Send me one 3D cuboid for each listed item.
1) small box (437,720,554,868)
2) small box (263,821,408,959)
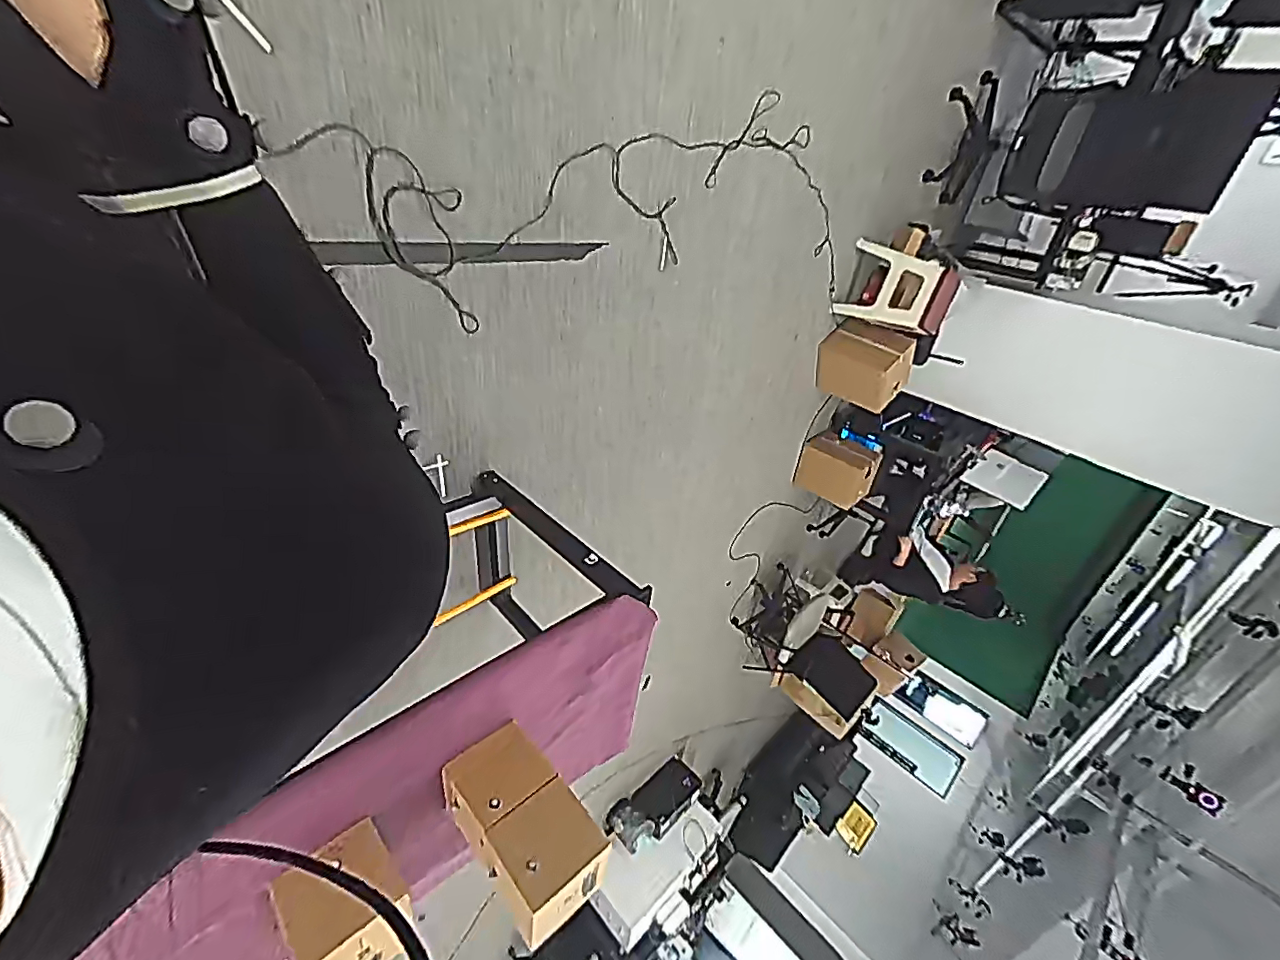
[{"bbox_3d":[-0.304,0.651,1.142,0.179,0.176,0.168,-22,132,-40],"label":"small box"},{"bbox_3d":[-0.524,0.746,0.940,0.168,0.176,0.179,-21,131,-42],"label":"small box"}]
